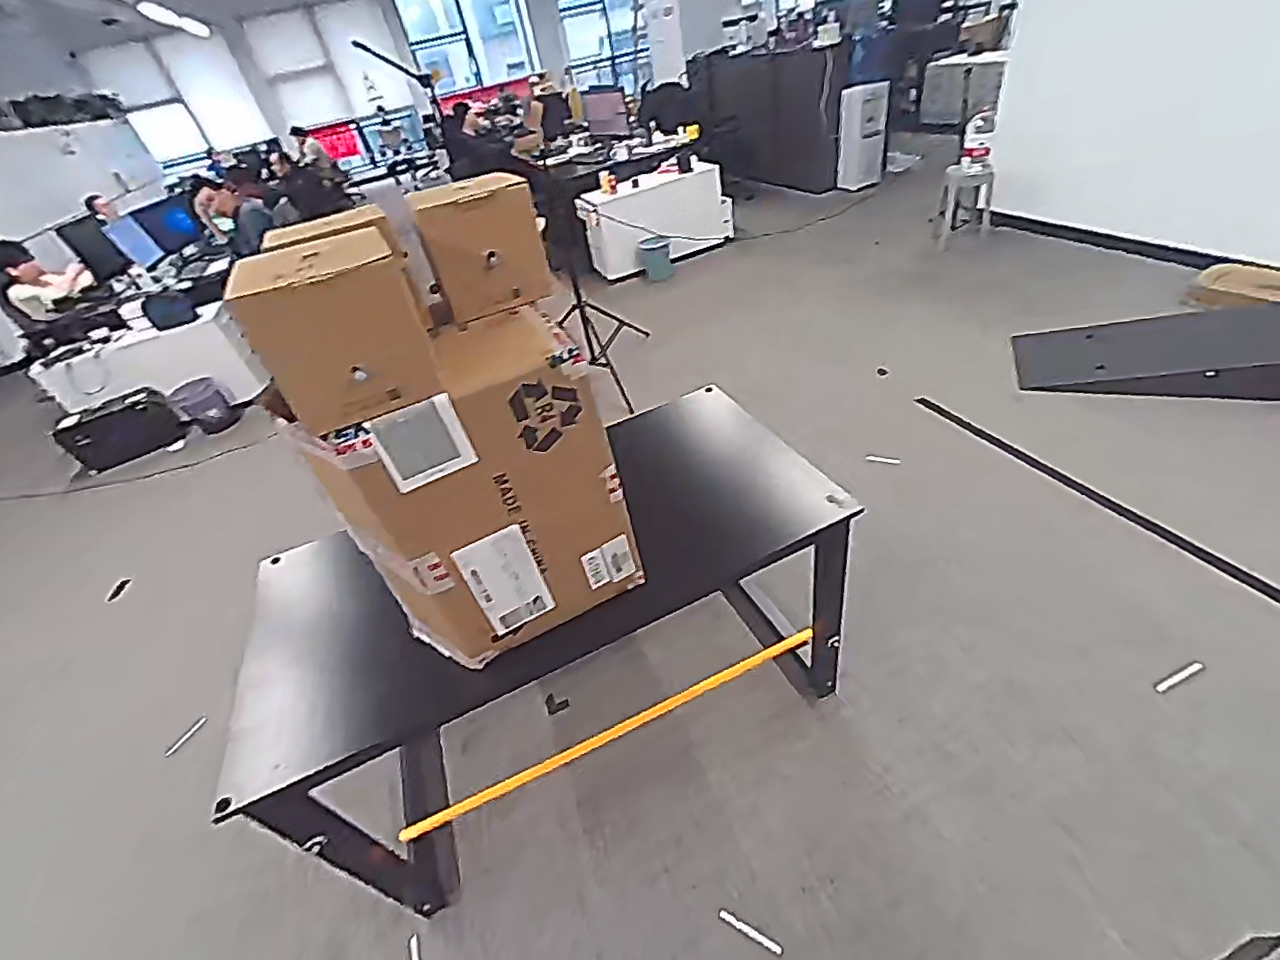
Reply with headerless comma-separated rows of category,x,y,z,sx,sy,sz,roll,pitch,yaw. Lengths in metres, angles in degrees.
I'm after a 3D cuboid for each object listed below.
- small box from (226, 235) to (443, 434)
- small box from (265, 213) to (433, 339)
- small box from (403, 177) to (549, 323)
small box,-0.365,-0.183,0.670,0.168,0.176,0.179,-24,41,-16
small box,-0.446,-0.300,0.842,0.168,0.176,0.179,-26,39,-17
small box,-0.263,-0.372,0.880,0.168,0.176,0.179,-22,40,-15
